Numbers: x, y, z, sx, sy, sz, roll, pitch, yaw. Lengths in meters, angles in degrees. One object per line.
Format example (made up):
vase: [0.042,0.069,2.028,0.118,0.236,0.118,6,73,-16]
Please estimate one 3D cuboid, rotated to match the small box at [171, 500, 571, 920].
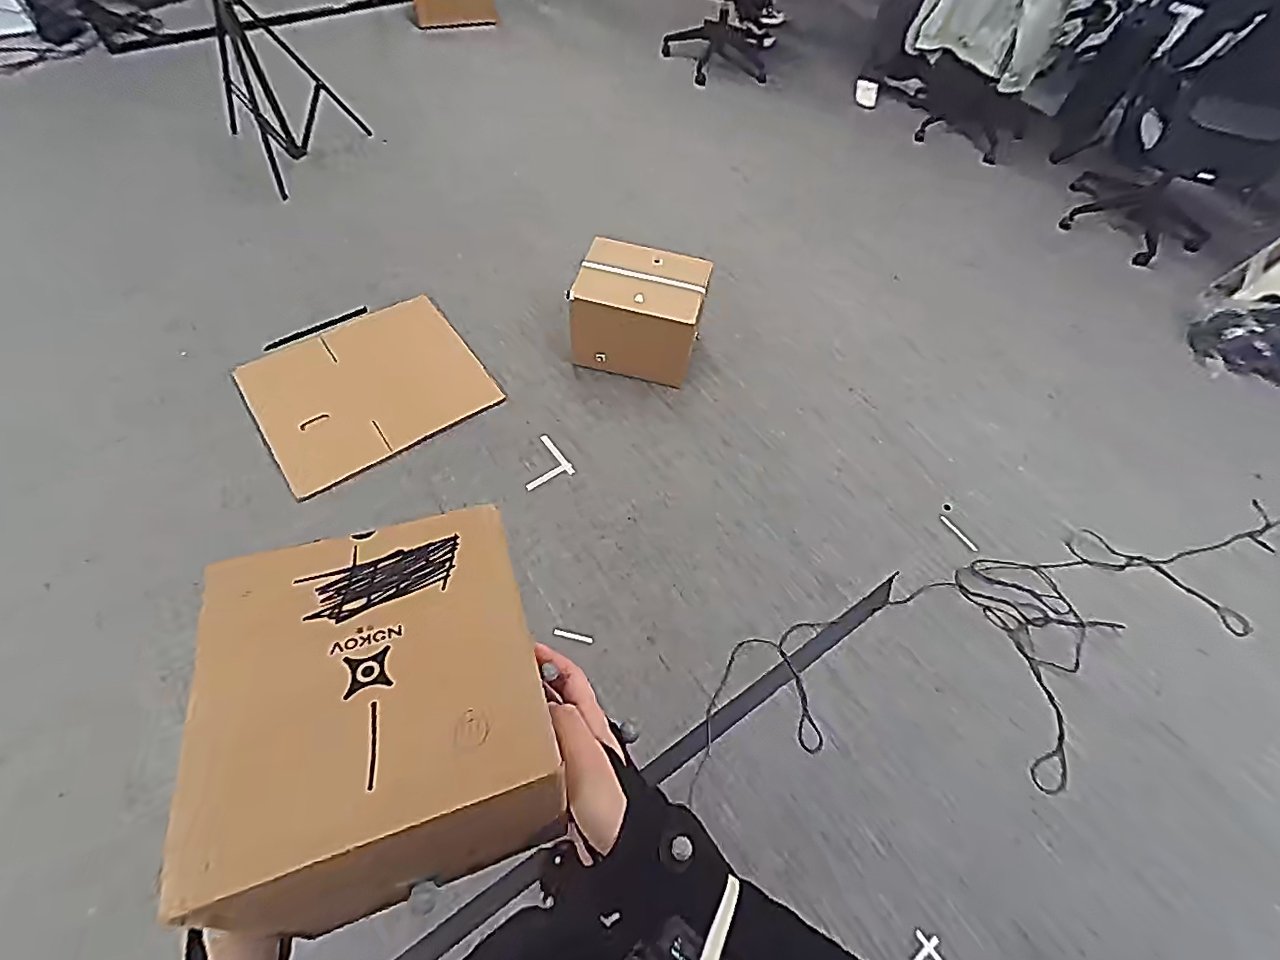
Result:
small box: [-0.146,0.144,0.348,0.168,0.176,0.179,-13,51,-17]
